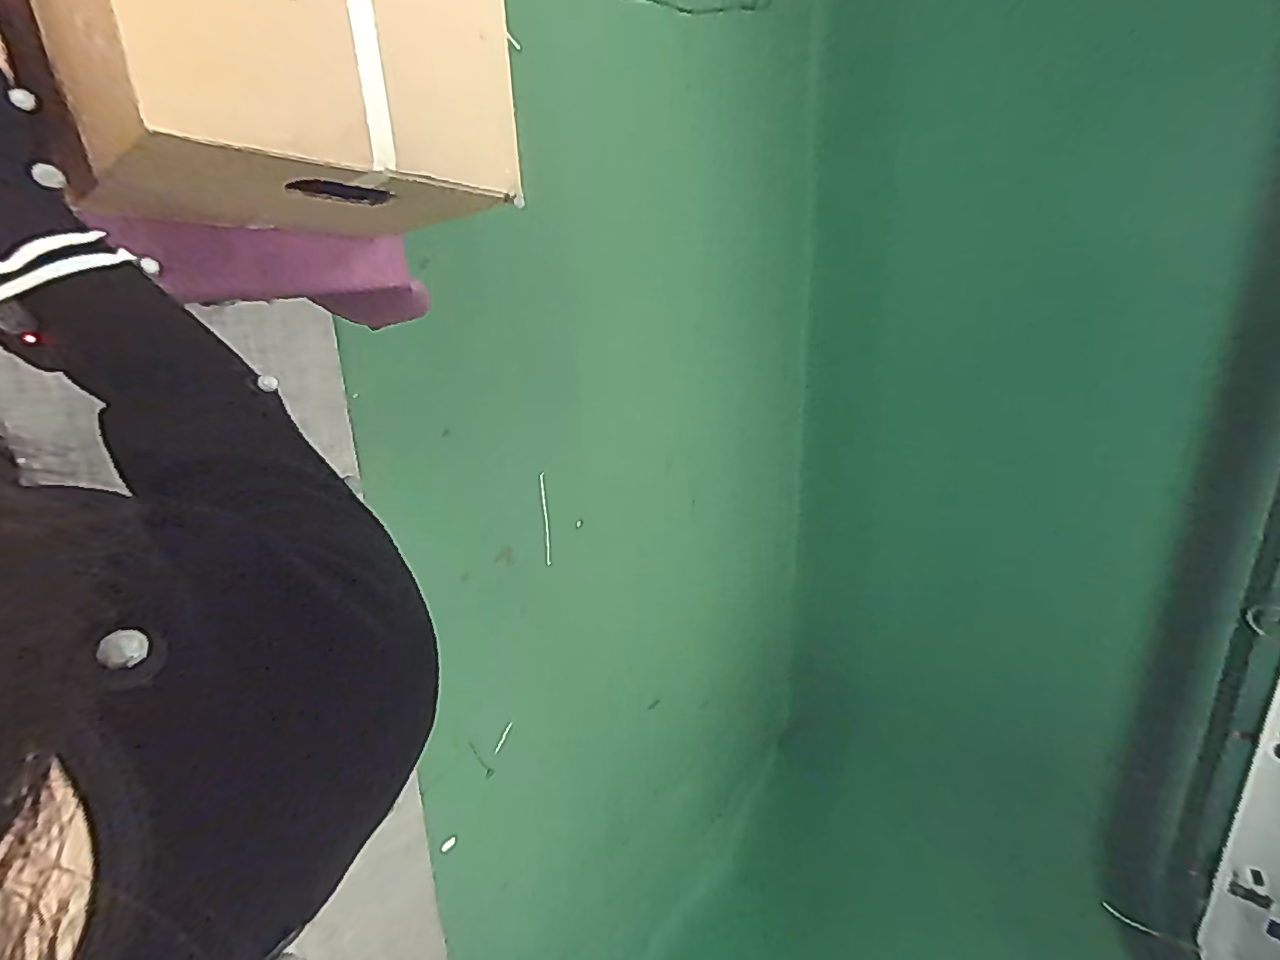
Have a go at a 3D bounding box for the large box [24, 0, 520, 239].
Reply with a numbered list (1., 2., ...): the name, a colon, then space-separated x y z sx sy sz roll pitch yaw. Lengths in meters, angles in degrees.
1. large box: -0.351 -0.474 0.511 0.320 0.320 0.408 -21 115 -49
